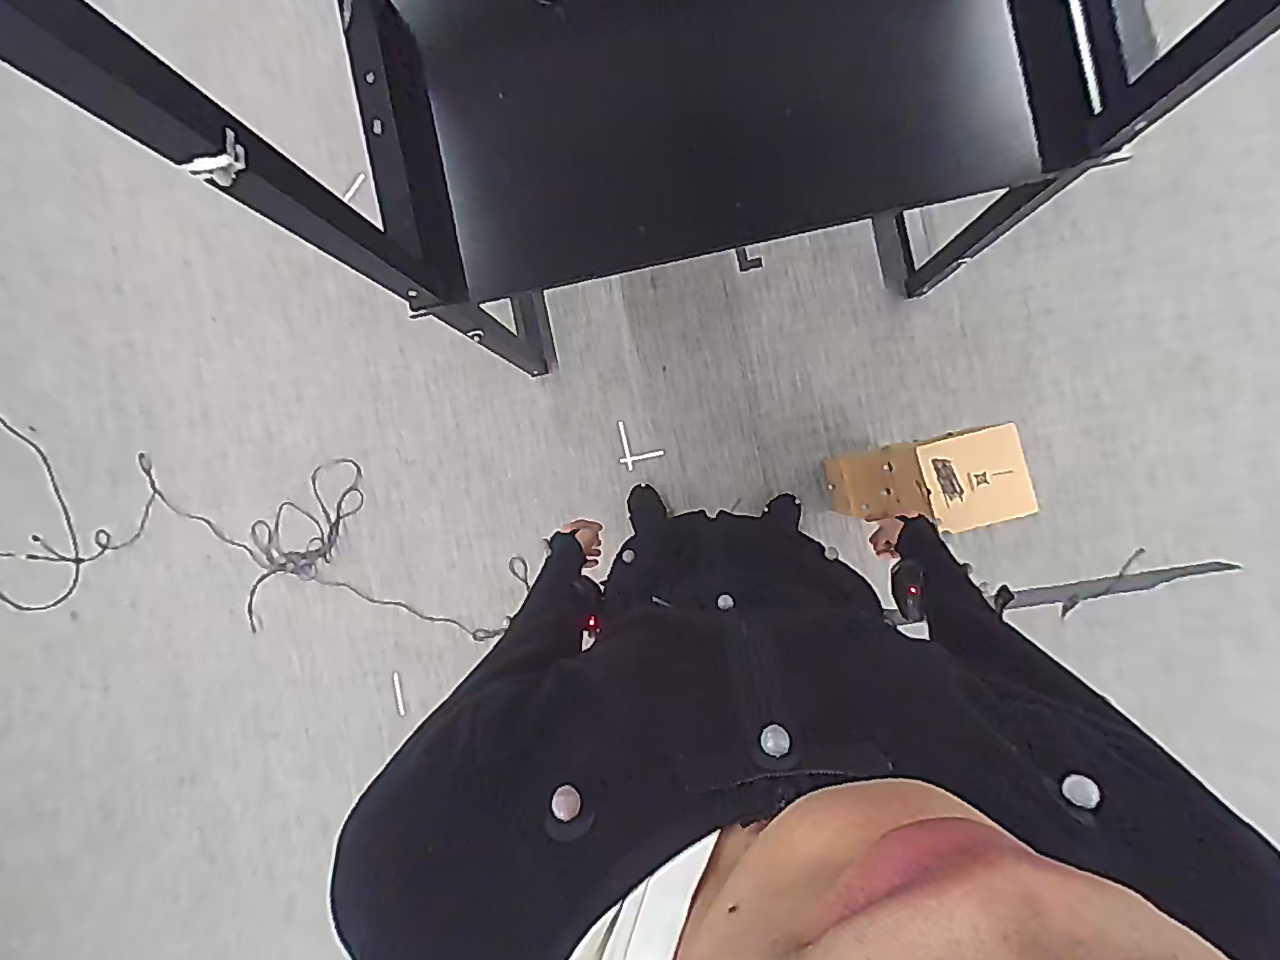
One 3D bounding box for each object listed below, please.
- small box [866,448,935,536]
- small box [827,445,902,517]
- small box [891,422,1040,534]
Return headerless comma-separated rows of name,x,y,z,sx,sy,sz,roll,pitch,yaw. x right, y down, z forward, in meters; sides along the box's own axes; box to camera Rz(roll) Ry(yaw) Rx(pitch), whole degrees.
small box,0.617,0.010,1.183,0.168,0.176,0.179,-14,90,6
small box,0.643,-0.001,1.508,0.179,0.176,0.168,-13,90,6
small box,0.596,-0.003,1.019,0.179,0.176,0.168,-15,90,5
